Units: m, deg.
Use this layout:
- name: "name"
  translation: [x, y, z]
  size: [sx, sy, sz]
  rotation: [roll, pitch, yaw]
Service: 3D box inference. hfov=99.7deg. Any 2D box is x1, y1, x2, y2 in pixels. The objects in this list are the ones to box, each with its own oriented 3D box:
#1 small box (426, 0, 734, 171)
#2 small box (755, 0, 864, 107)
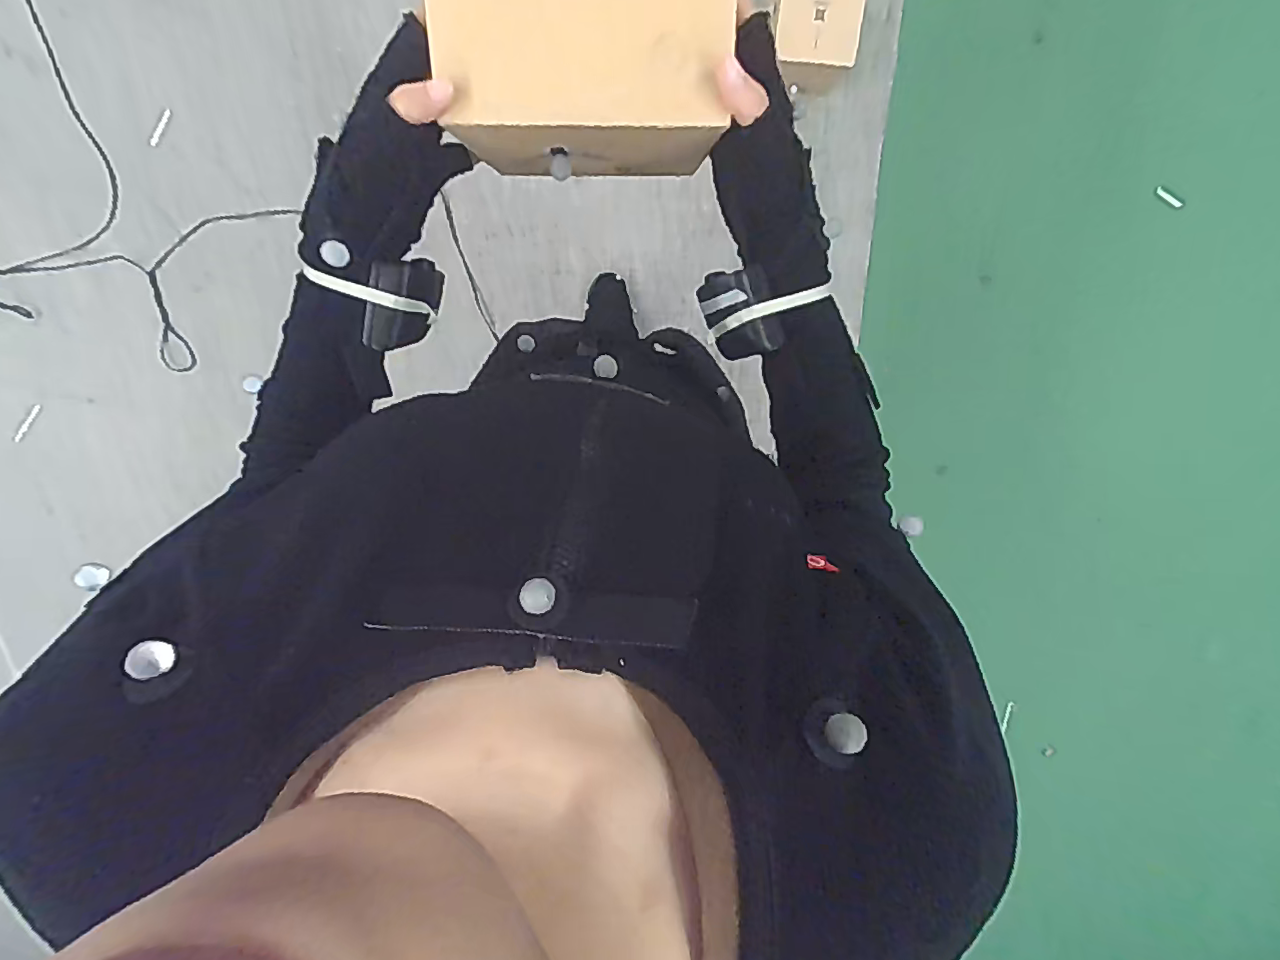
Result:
- name: "small box"
  translation: [-0.032, -0.311, 0.348]
  size: [0.168, 0.176, 0.179]
  rotation: [-1, 109, -1]
- name: "small box"
  translation: [0.345, -0.915, 1.126]
  size: [0.168, 0.176, 0.179]
  rotation: [4, 108, -1]
